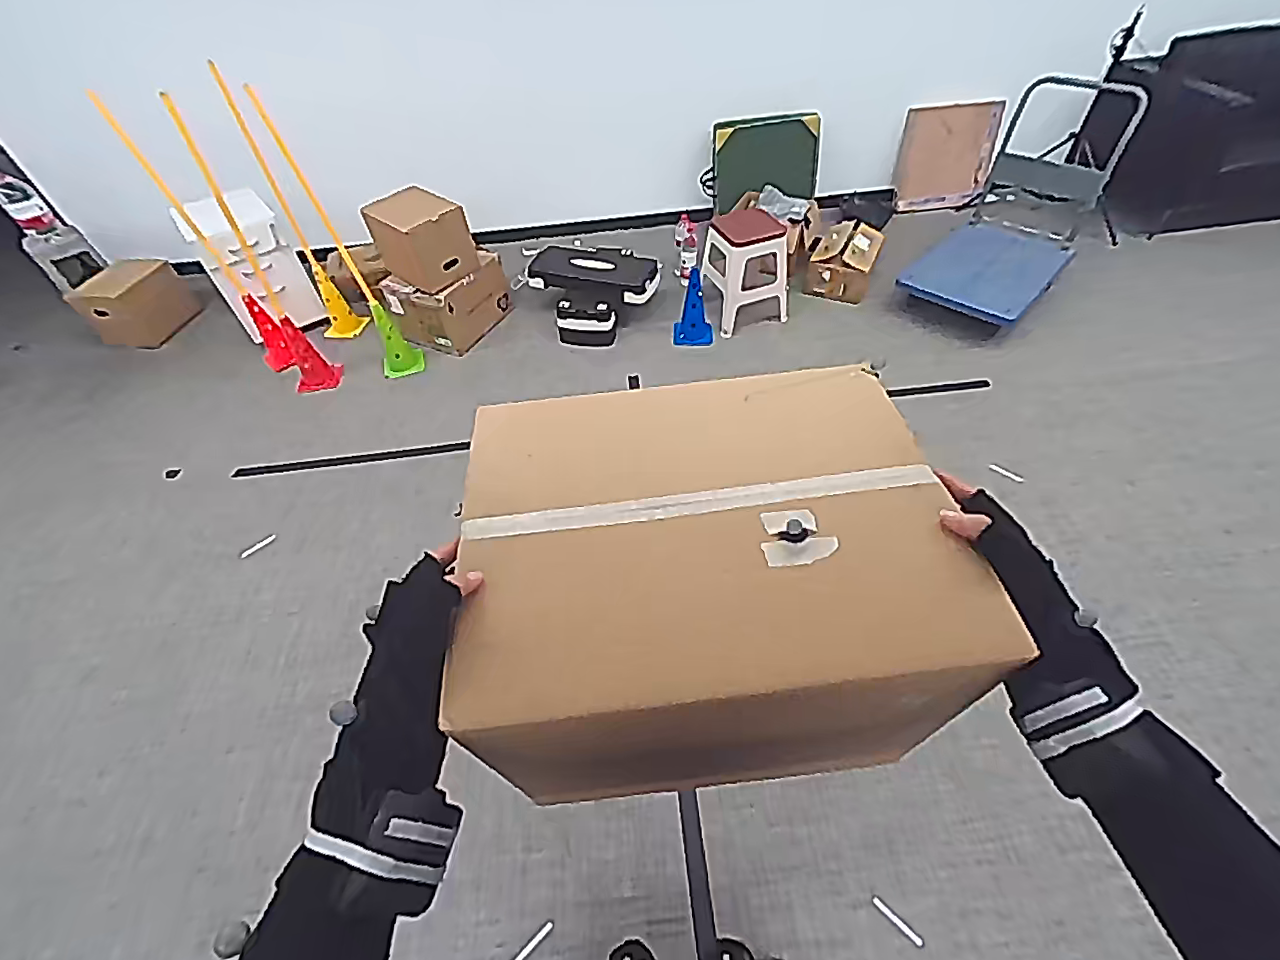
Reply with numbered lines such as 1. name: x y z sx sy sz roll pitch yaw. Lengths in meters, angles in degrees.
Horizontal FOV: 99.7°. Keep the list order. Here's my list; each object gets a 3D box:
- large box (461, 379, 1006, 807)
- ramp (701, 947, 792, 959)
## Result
1. large box: 0.060 0.128 0.589 0.408 0.320 0.320 -7 51 -1
2. ramp: 0.131 1.407 0.847 0.509 0.206 0.991 -8 49 -3
